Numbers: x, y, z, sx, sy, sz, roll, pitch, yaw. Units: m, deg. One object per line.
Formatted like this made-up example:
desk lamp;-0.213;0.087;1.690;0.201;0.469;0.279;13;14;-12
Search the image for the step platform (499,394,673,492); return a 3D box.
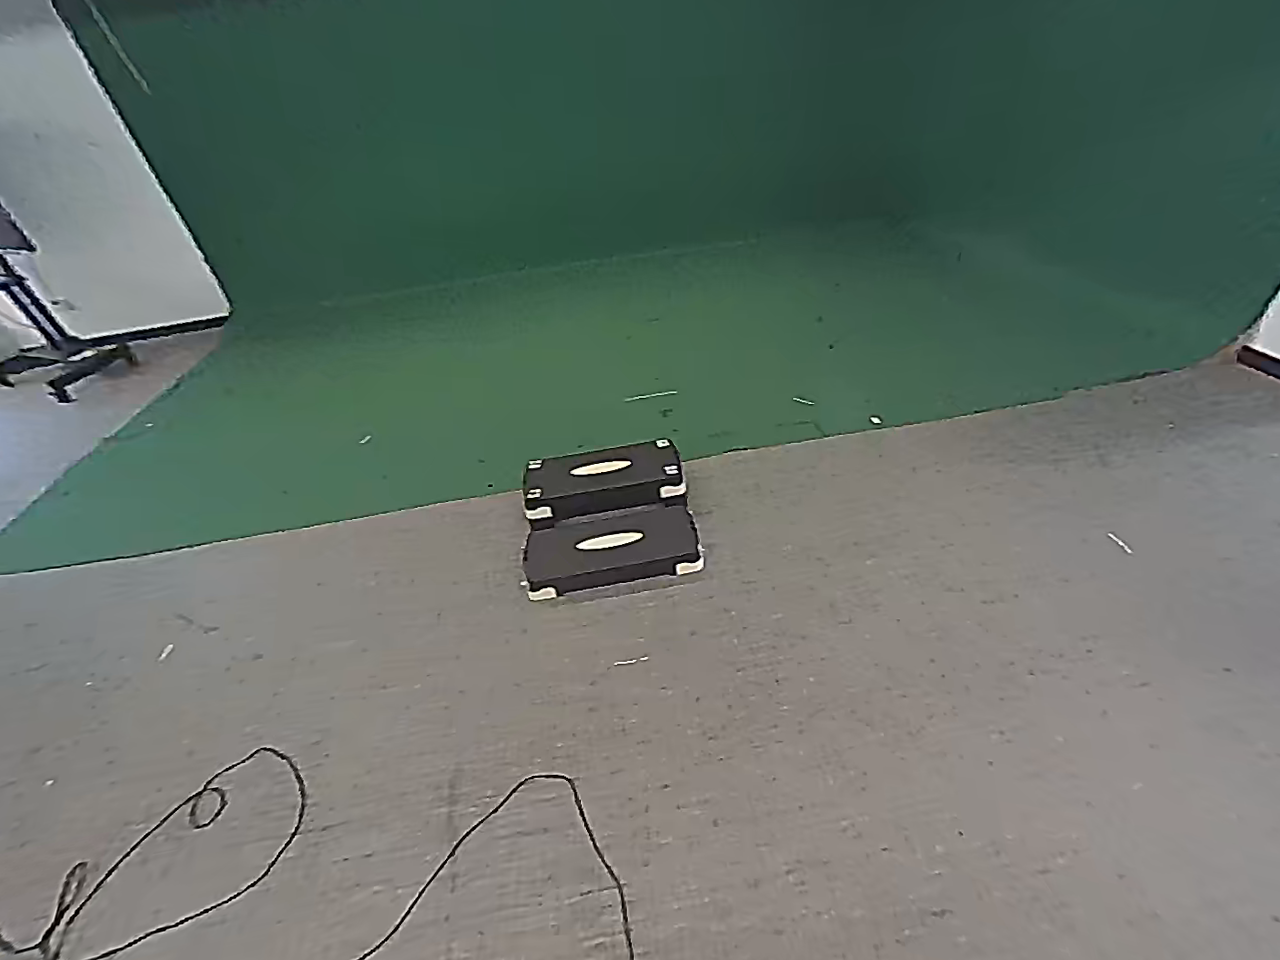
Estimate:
step platform;-0.211;-0.153;2.199;0.684;0.204;0.286;-10;39;-2
